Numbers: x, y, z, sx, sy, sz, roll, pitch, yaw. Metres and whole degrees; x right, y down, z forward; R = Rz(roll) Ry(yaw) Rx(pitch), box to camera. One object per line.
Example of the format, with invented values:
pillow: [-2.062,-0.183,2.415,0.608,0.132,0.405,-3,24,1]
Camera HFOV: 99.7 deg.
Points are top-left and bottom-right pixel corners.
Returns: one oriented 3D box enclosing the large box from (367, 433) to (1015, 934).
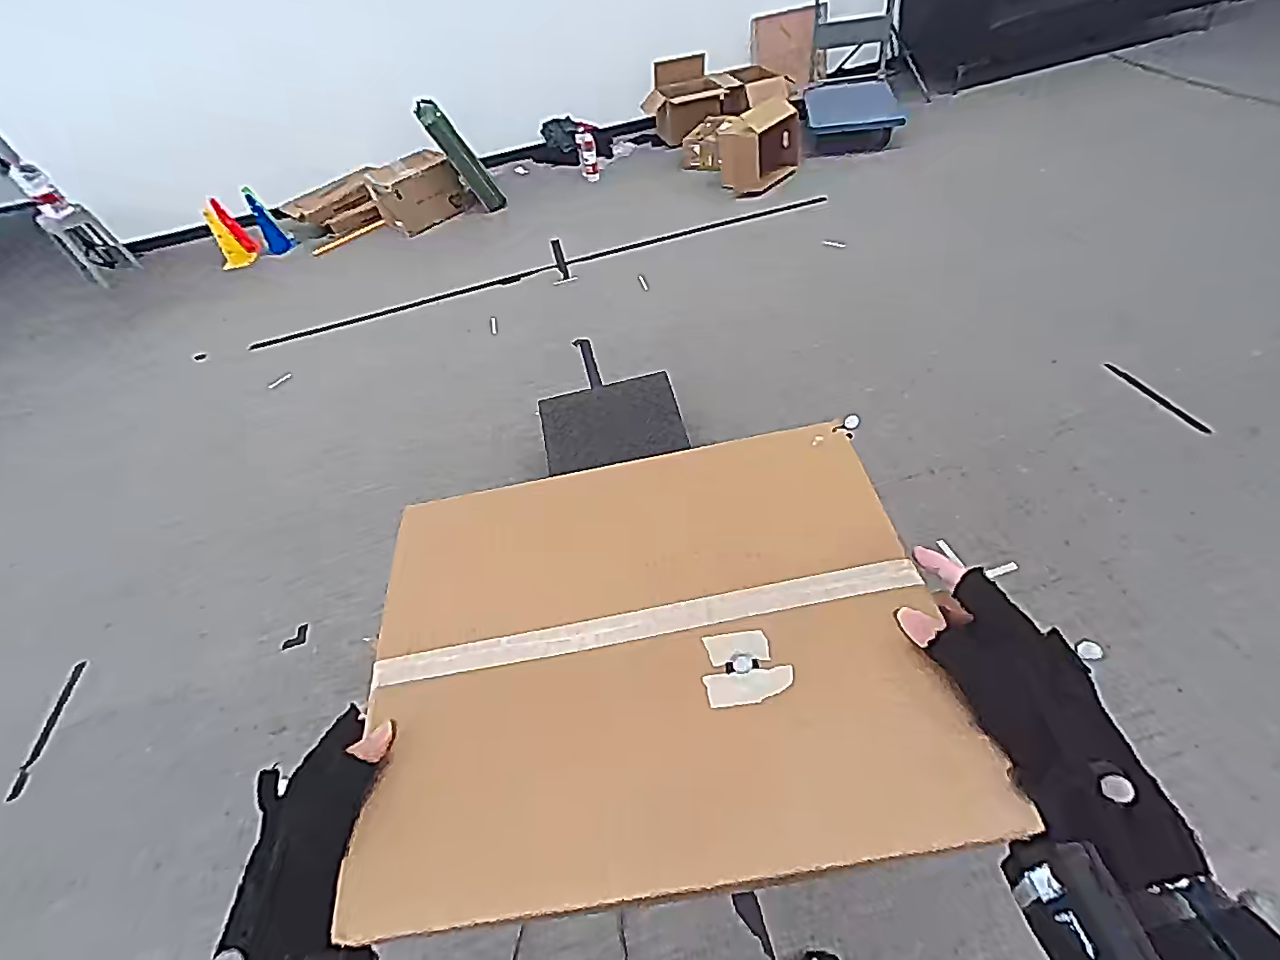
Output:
large box: [0.028,0.204,0.527,0.408,0.320,0.320,-11,52,2]
